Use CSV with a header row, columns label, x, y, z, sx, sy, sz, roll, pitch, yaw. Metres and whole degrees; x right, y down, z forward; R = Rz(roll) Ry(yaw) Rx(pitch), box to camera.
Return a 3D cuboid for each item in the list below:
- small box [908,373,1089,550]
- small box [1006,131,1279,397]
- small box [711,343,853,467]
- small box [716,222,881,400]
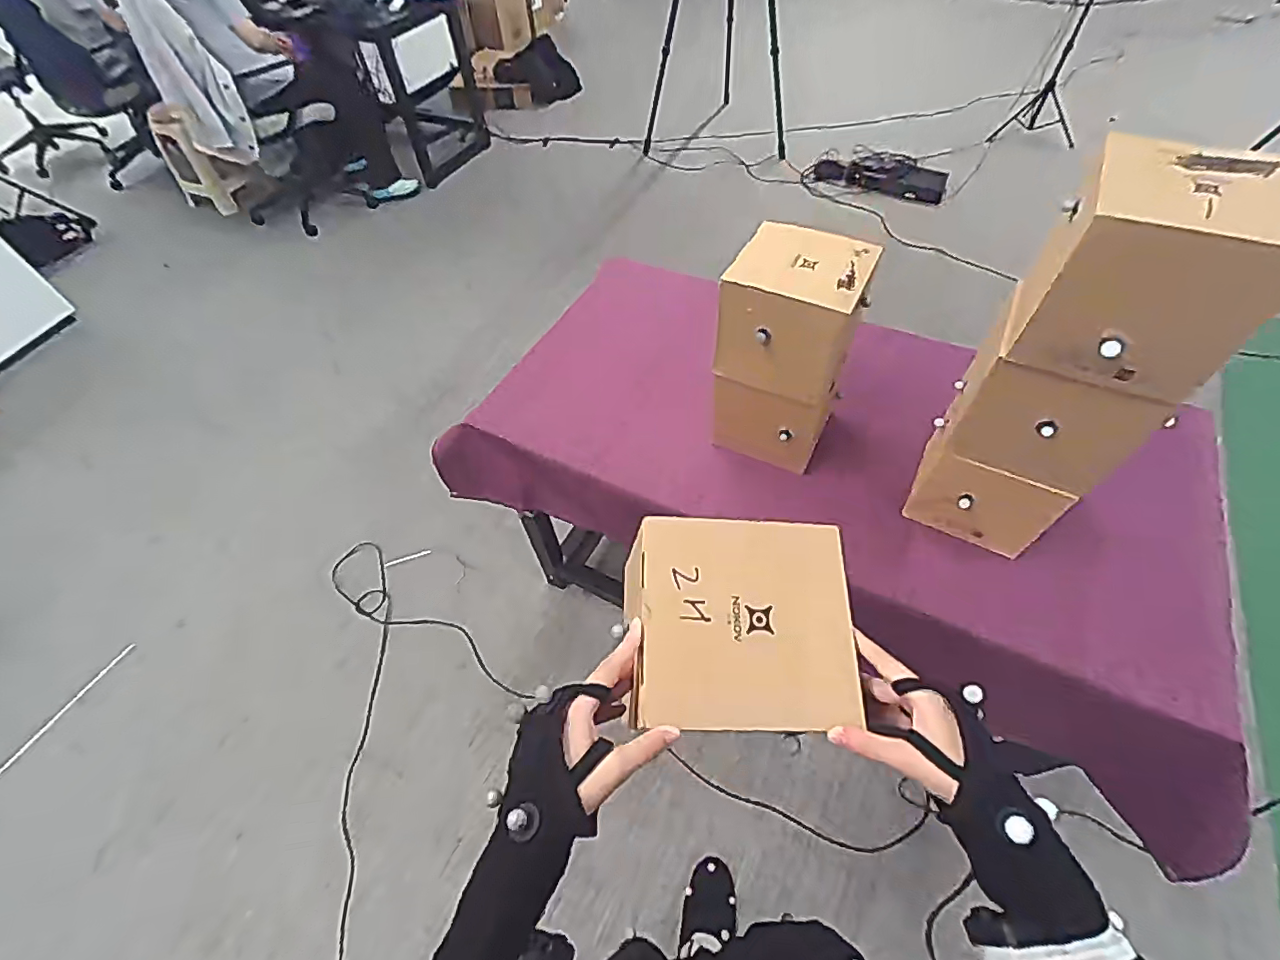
label,x,y,z,sx,sy,sz,roll,pitch,yaw
small box,0.527,-0.024,0.814,0.168,0.176,0.179,24,58,20
small box,0.506,-0.218,0.549,0.168,0.176,0.179,22,58,20
small box,0.234,-0.147,0.923,0.179,0.176,0.168,22,57,19
small box,0.221,-0.244,0.791,0.179,0.176,0.168,23,58,19
